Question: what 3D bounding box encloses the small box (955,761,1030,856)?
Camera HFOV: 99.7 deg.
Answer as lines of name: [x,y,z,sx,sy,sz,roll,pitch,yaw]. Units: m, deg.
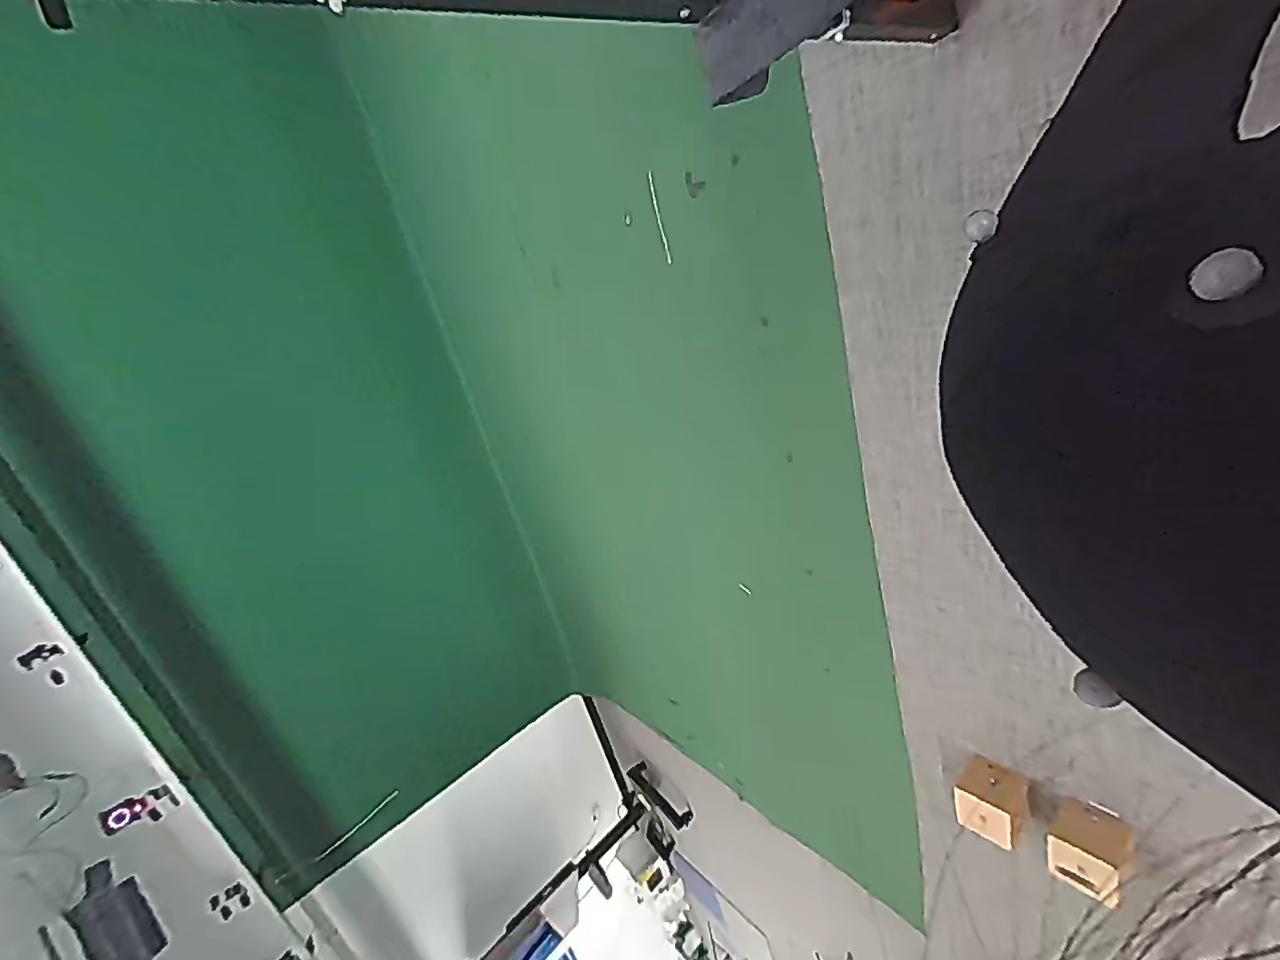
small box: [1.182,1.092,1.813,0.168,0.176,0.179,10,122,52]
